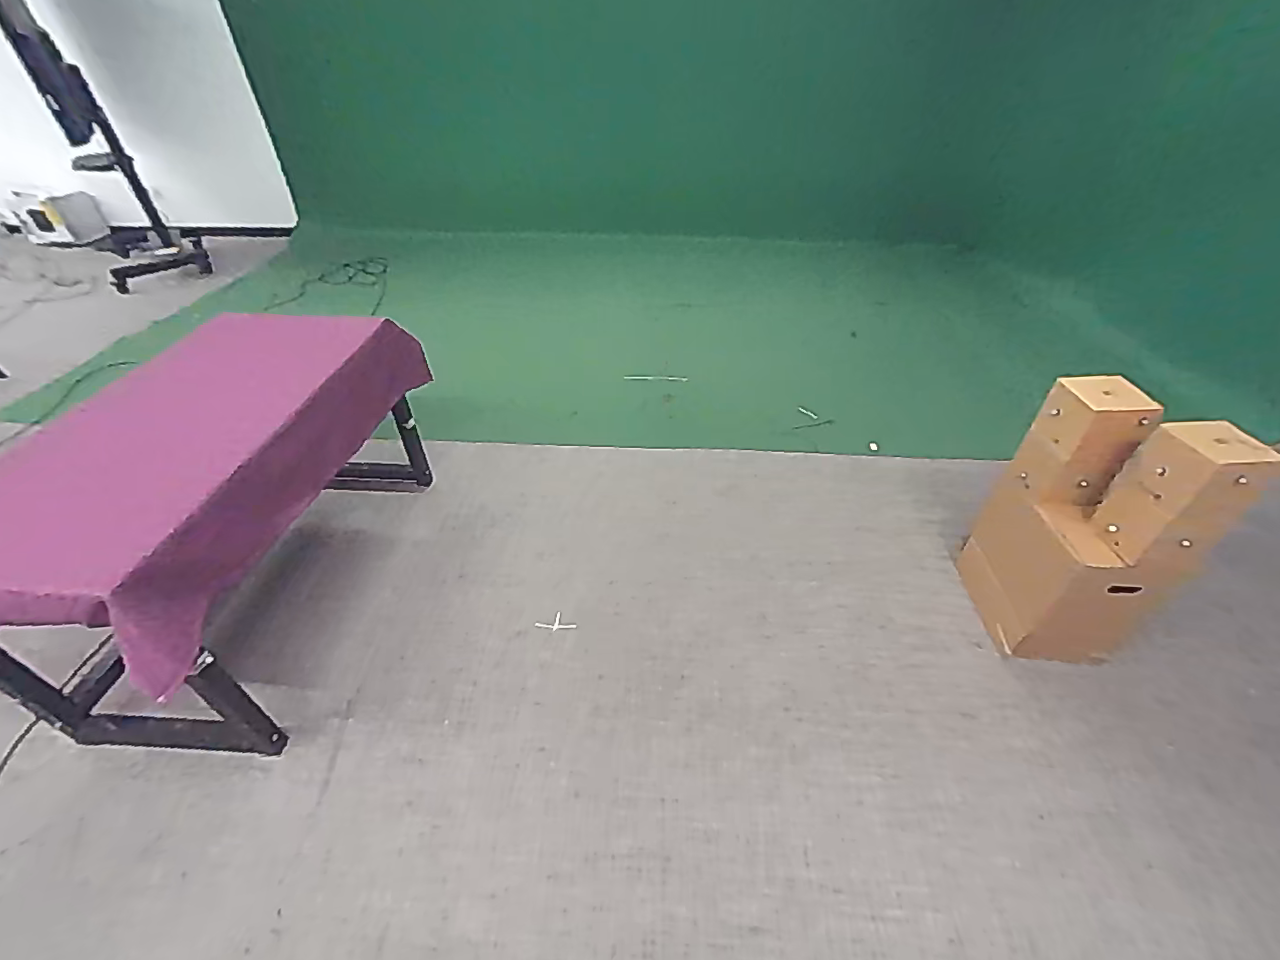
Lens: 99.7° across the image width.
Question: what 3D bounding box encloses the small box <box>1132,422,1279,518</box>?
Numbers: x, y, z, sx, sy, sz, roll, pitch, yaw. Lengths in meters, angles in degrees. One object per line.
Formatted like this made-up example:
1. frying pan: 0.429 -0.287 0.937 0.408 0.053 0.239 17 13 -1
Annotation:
1. small box: 1.335 -0.021 1.286 0.179 0.176 0.168 -1 40 -3

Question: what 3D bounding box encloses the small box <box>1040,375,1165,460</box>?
1. small box: 1.224 -0.166 1.456 0.179 0.176 0.168 -1 42 1
